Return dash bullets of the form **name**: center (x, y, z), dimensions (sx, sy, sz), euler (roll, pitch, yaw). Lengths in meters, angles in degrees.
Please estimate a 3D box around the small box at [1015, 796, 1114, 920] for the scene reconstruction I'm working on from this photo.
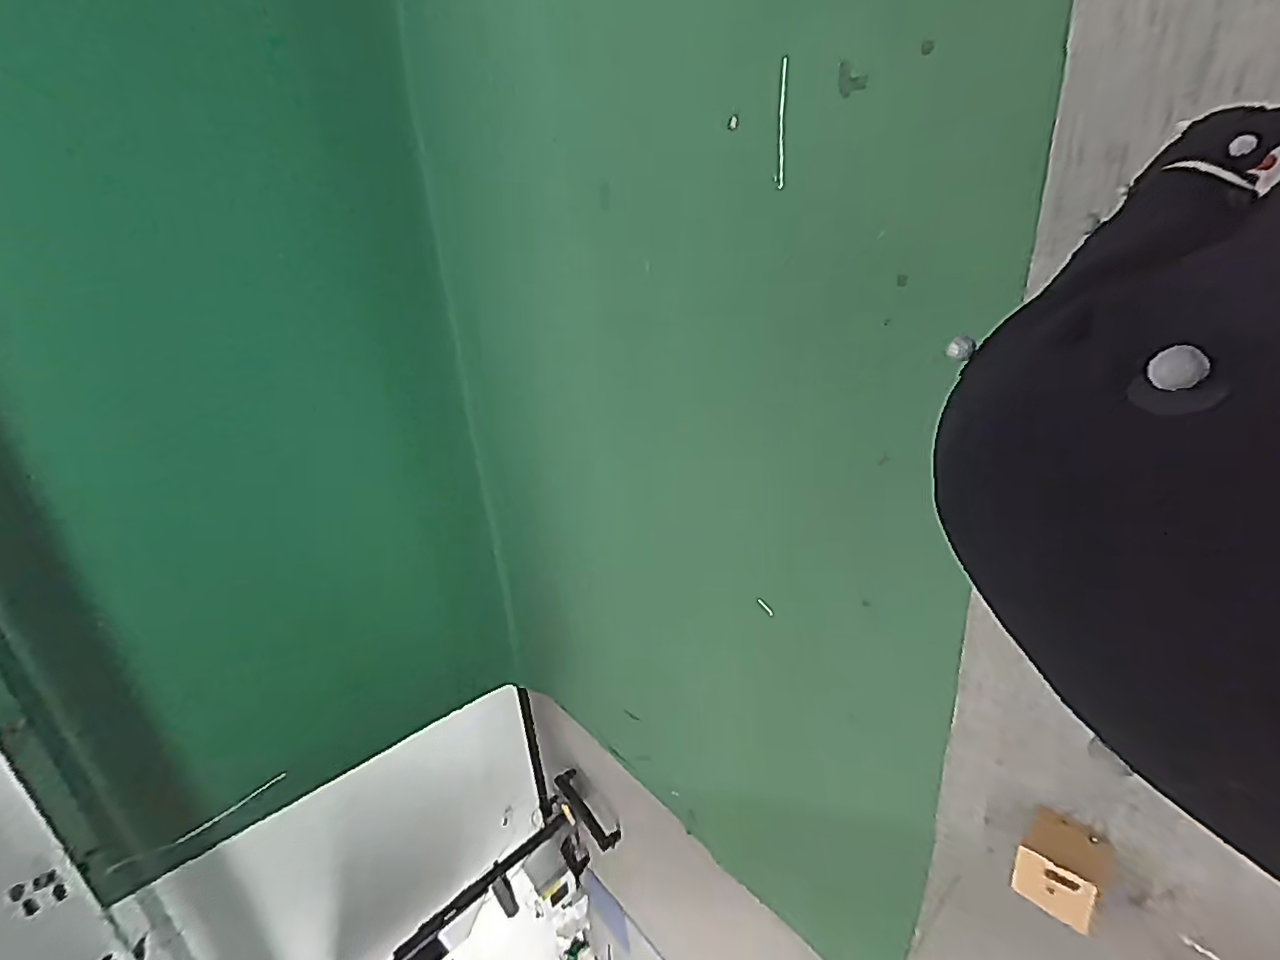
- **small box**: center (1.142, 1.005, 1.454), dimensions (0.168, 0.176, 0.179), euler (17, 120, 47)
